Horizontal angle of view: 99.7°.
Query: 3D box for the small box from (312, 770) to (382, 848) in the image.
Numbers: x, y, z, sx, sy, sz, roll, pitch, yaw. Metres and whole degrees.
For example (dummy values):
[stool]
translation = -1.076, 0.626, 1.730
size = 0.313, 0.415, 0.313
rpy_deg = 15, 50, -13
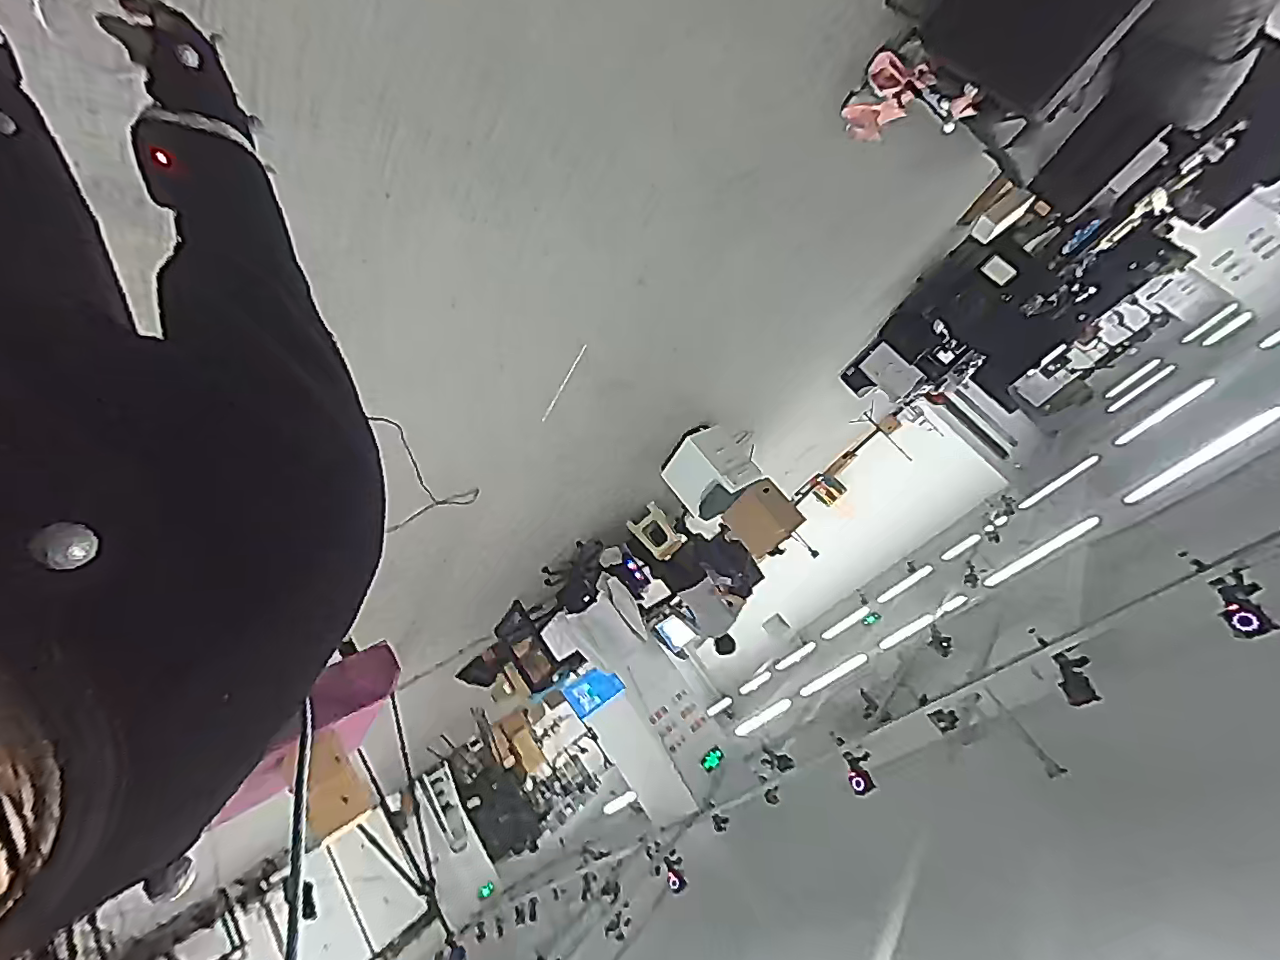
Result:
[small box]
translation = -1.073, 1.195, 1.973
size = 0.168, 0.176, 0.179
rpy_deg = -19, 155, -45
